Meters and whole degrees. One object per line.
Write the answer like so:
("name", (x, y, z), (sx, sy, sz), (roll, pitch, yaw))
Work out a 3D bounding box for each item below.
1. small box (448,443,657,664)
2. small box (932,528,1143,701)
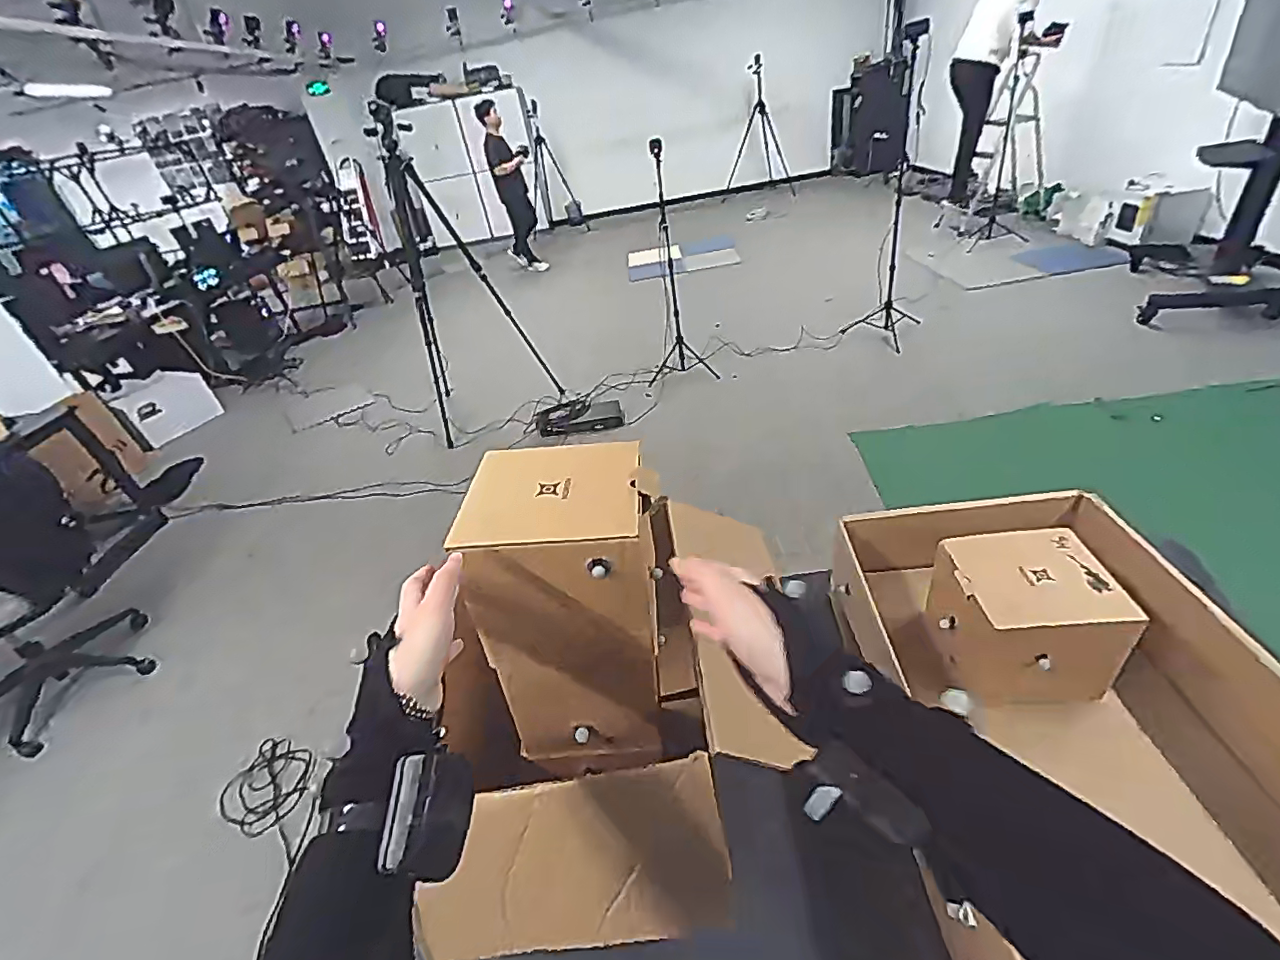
("small box", (-0.076, 0.078, 0.577), (0.179, 0.176, 0.168), (-4, 34, 2))
("small box", (0.531, 0.192, 0.759), (0.179, 0.176, 0.168), (-8, 37, 8))
